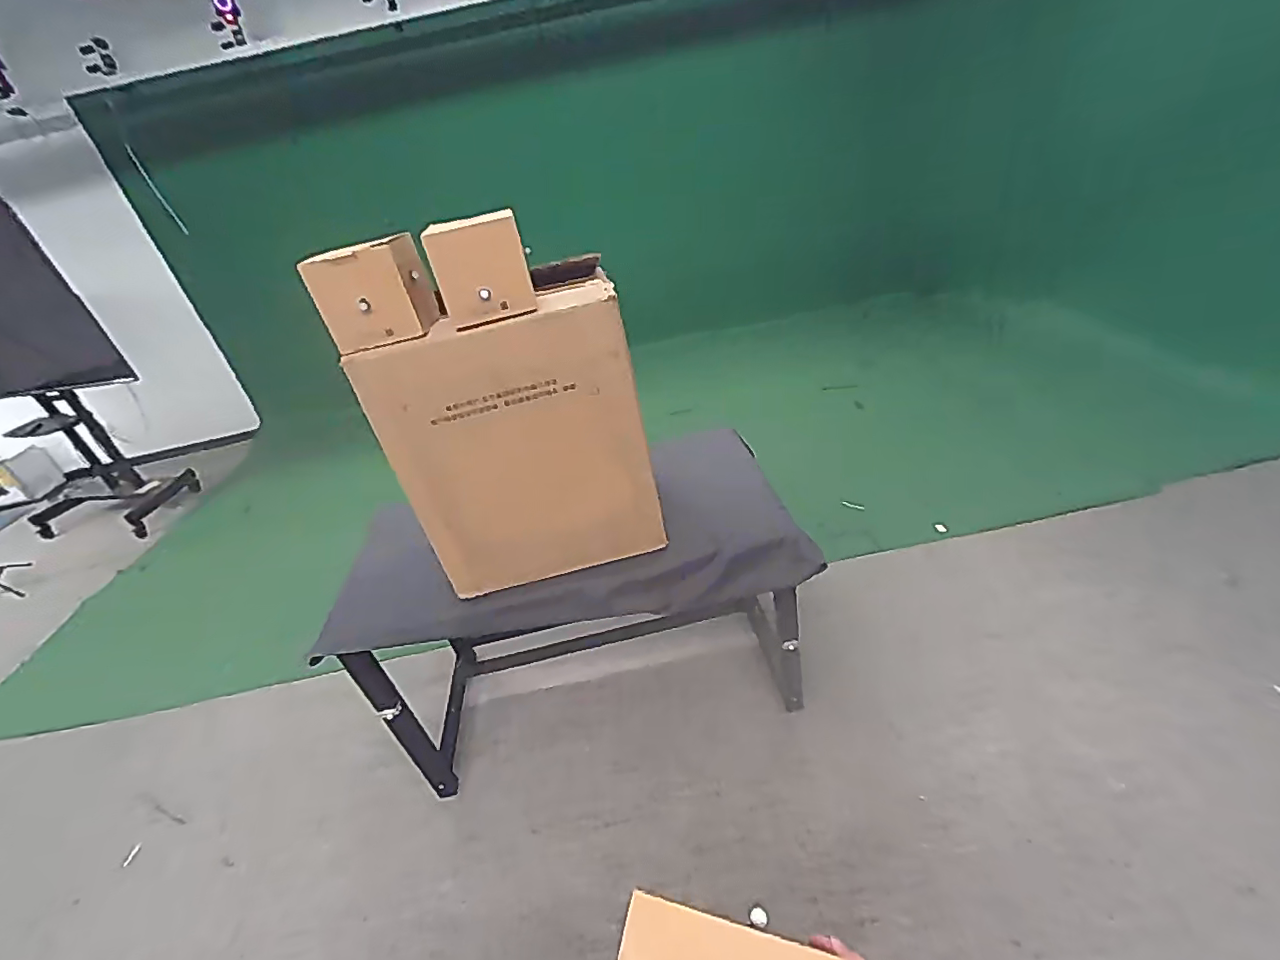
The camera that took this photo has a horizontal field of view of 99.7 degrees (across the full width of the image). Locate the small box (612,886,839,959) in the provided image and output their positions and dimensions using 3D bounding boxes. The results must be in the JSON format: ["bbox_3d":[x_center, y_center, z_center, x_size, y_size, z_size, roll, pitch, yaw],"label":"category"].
[{"bbox_3d":[0.060,0.450,0.418,0.168,0.176,0.179,5,50,16],"label":"small box"}]

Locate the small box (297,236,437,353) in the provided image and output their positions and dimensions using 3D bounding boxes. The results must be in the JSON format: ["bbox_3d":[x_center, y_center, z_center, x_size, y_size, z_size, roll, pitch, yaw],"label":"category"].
[{"bbox_3d":[-0.519,-0.360,1.058,0.168,0.176,0.179,-14,32,-1],"label":"small box"}]
